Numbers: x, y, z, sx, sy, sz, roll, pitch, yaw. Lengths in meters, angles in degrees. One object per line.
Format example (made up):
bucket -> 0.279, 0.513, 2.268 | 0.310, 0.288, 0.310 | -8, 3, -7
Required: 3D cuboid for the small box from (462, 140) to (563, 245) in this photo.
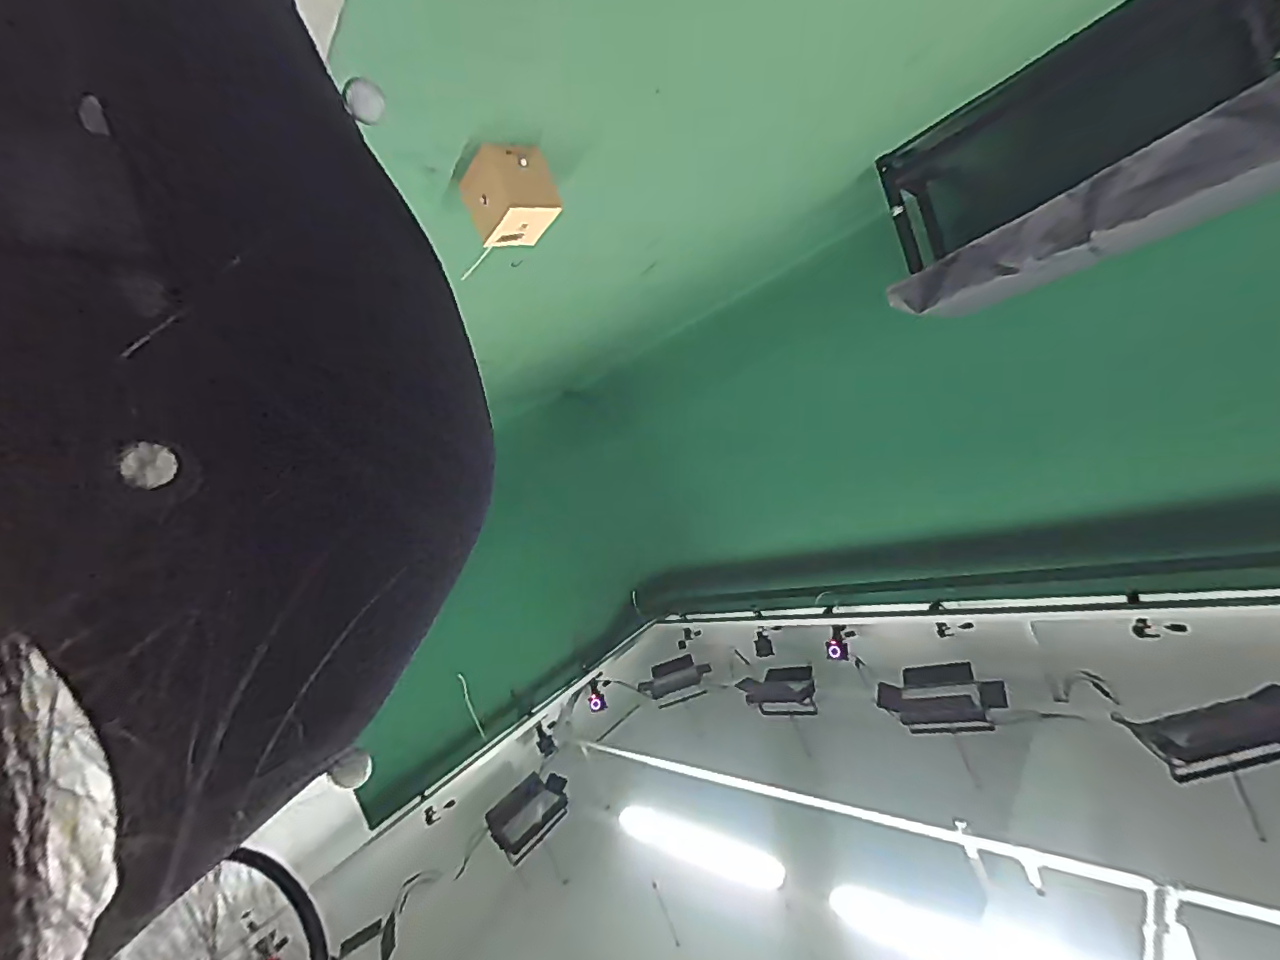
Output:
small box -> -0.334, -0.731, 1.390 | 0.168, 0.176, 0.179 | -26, -176, -40
